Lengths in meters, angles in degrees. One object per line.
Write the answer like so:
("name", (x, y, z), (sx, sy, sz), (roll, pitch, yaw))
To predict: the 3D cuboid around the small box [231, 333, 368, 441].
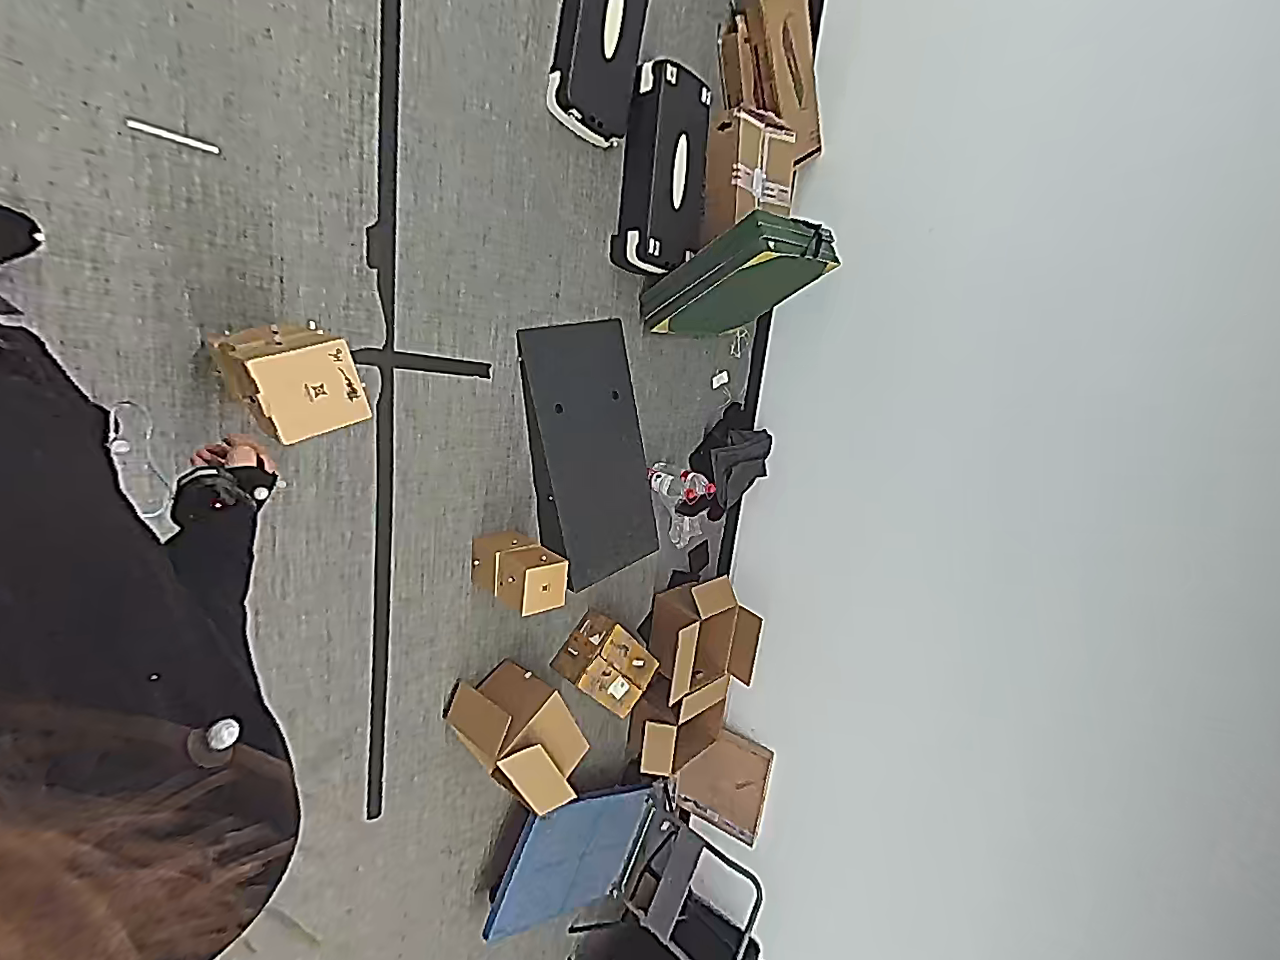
("small box", (-0.688, -0.194, 1.087), (0.179, 0.176, 0.168), (-29, 124, -37))
